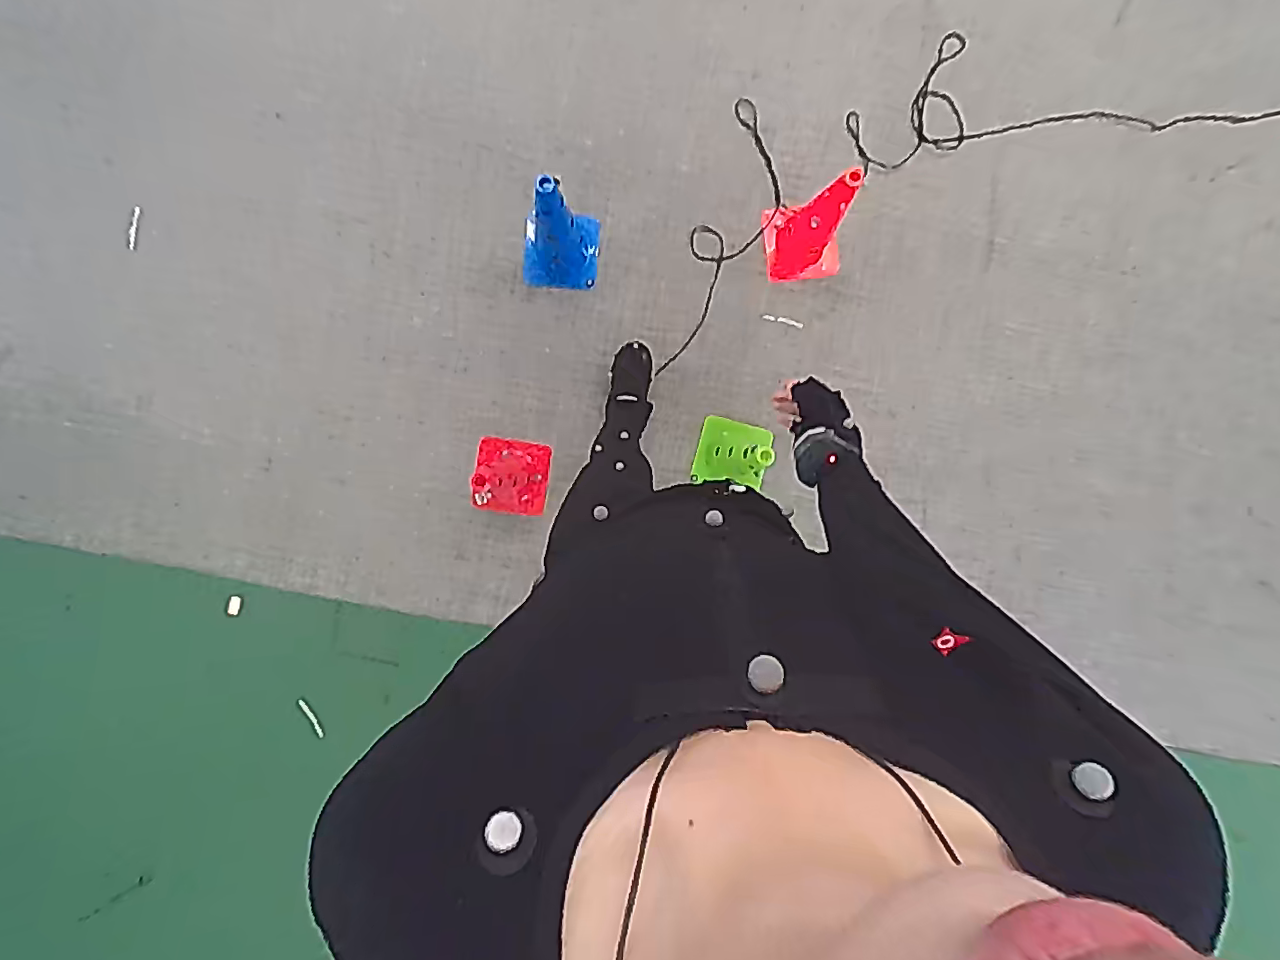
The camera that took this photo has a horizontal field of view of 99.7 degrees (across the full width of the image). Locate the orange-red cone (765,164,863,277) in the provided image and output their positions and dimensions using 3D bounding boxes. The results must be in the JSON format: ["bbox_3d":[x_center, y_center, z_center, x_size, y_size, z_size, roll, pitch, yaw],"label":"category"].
[{"bbox_3d":[0.451,-0.656,1.316,0.198,0.360,0.199,-7,94,-1],"label":"orange-red cone"}]

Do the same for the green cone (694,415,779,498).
[{"bbox_3d":[0.271,-0.062,1.327,0.200,0.368,0.202,14,90,-3],"label":"green cone"}]
